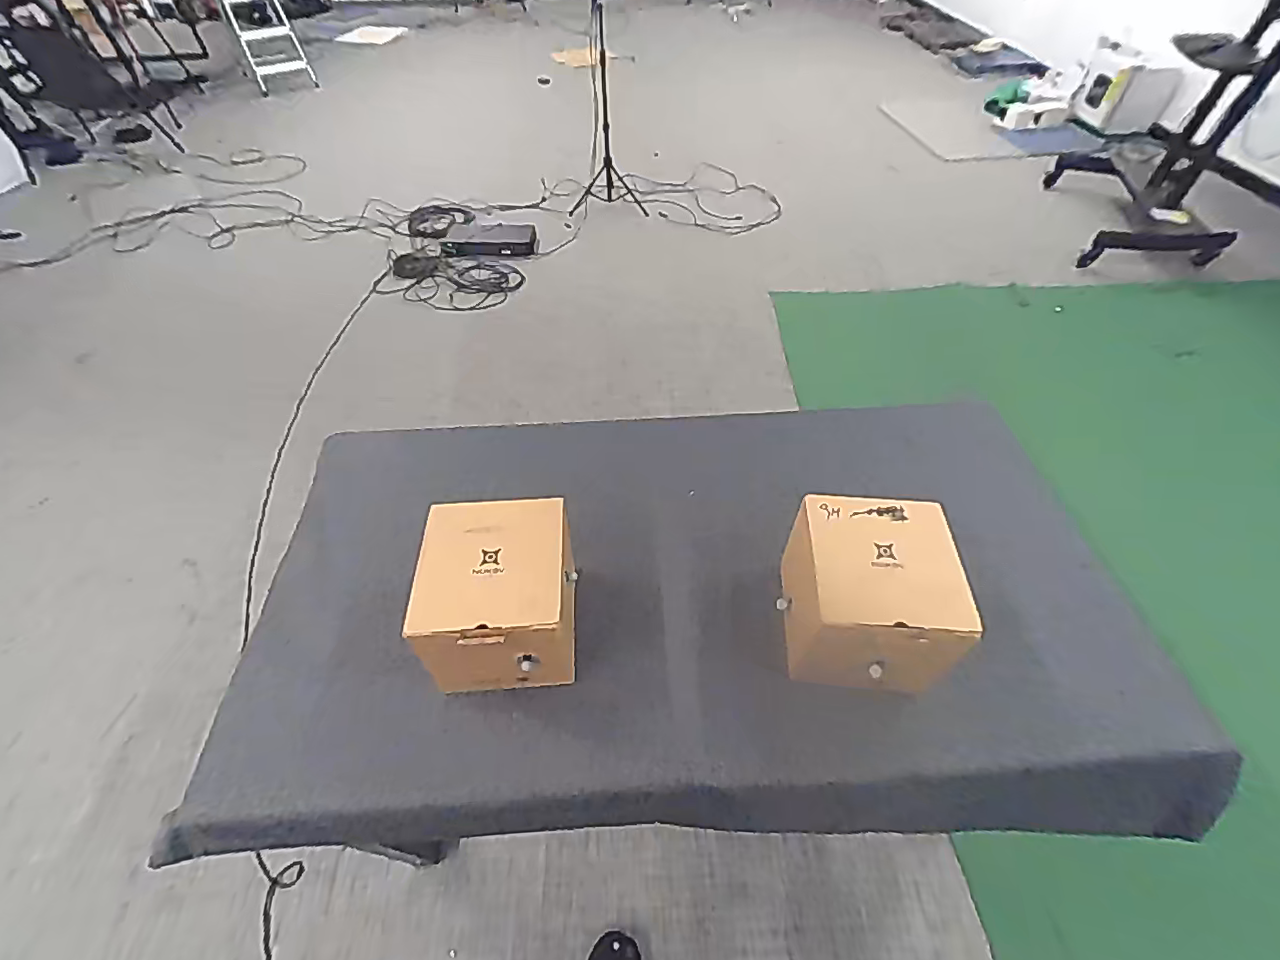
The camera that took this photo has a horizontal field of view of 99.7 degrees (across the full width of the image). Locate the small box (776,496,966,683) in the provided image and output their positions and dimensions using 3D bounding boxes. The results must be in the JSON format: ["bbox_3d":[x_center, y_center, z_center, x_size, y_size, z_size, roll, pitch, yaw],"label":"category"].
[{"bbox_3d":[0.273,0.142,0.685,0.168,0.176,0.179,4,51,4],"label":"small box"}]

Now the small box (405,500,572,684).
[{"bbox_3d":[-0.176,0.148,0.691,0.168,0.176,0.179,-3,48,-4],"label":"small box"}]
